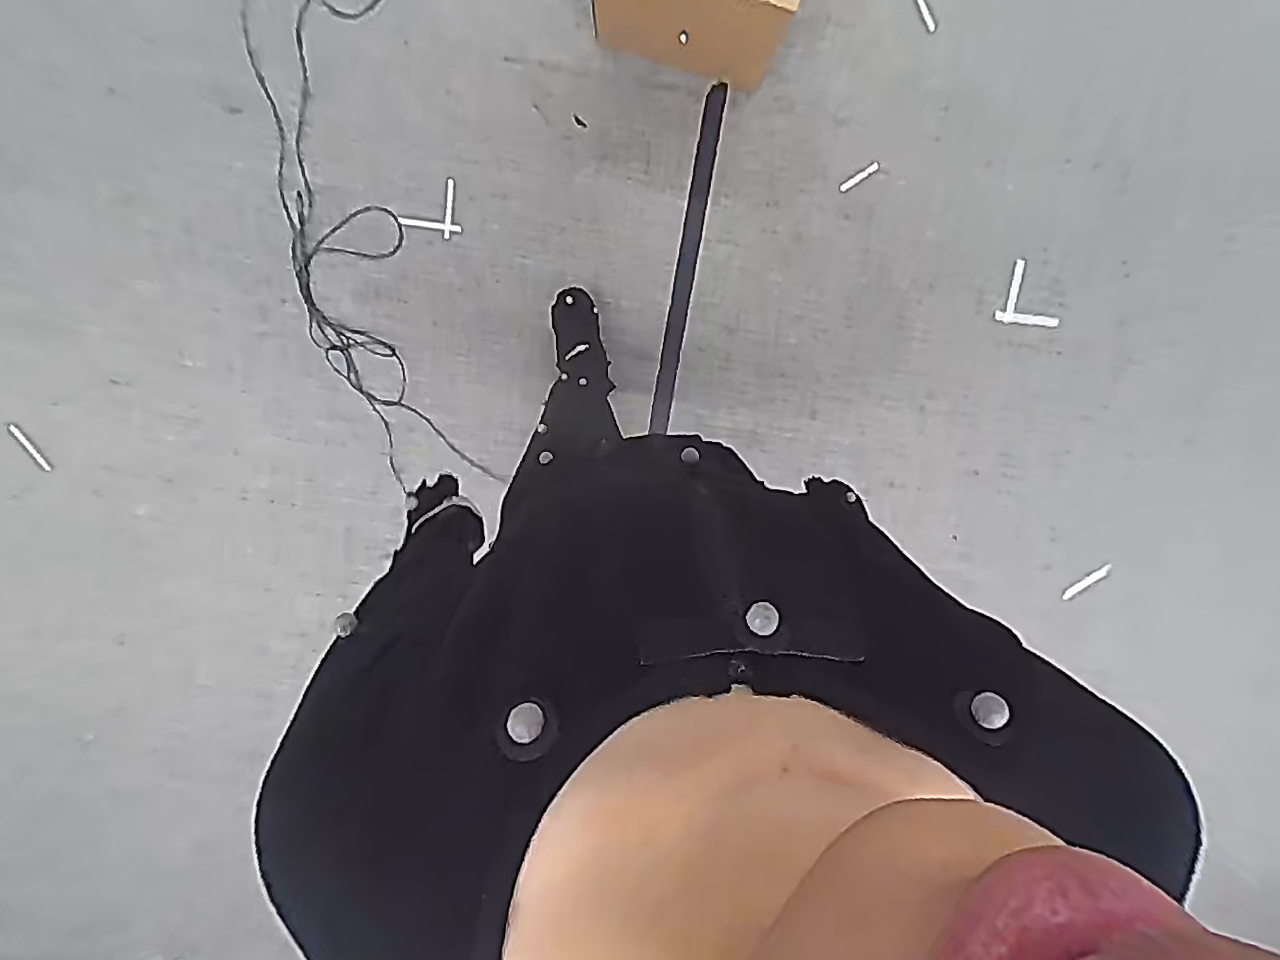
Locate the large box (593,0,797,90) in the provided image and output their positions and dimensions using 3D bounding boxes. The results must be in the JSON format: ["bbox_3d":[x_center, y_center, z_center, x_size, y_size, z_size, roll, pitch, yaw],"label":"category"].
[{"bbox_3d":[0.131,-1.100,1.130,0.408,0.320,0.320,13,100,-4],"label":"large box"}]
